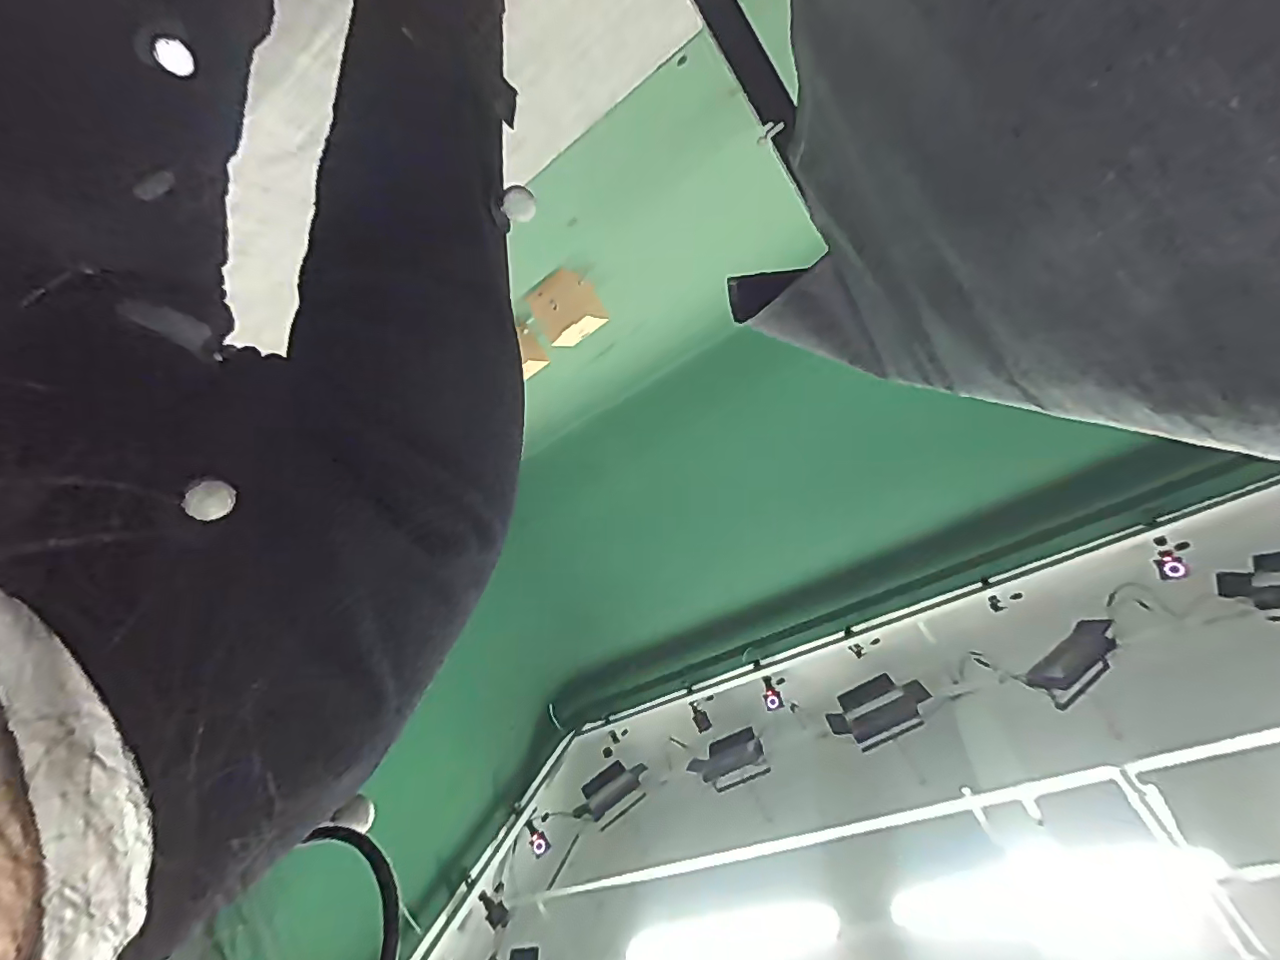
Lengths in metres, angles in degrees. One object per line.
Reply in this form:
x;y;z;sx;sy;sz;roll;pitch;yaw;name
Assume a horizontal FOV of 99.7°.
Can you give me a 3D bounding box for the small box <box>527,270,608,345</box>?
-0.240;-0.563;1.776;0.168;0.176;0.179;-29;180;23;small box
